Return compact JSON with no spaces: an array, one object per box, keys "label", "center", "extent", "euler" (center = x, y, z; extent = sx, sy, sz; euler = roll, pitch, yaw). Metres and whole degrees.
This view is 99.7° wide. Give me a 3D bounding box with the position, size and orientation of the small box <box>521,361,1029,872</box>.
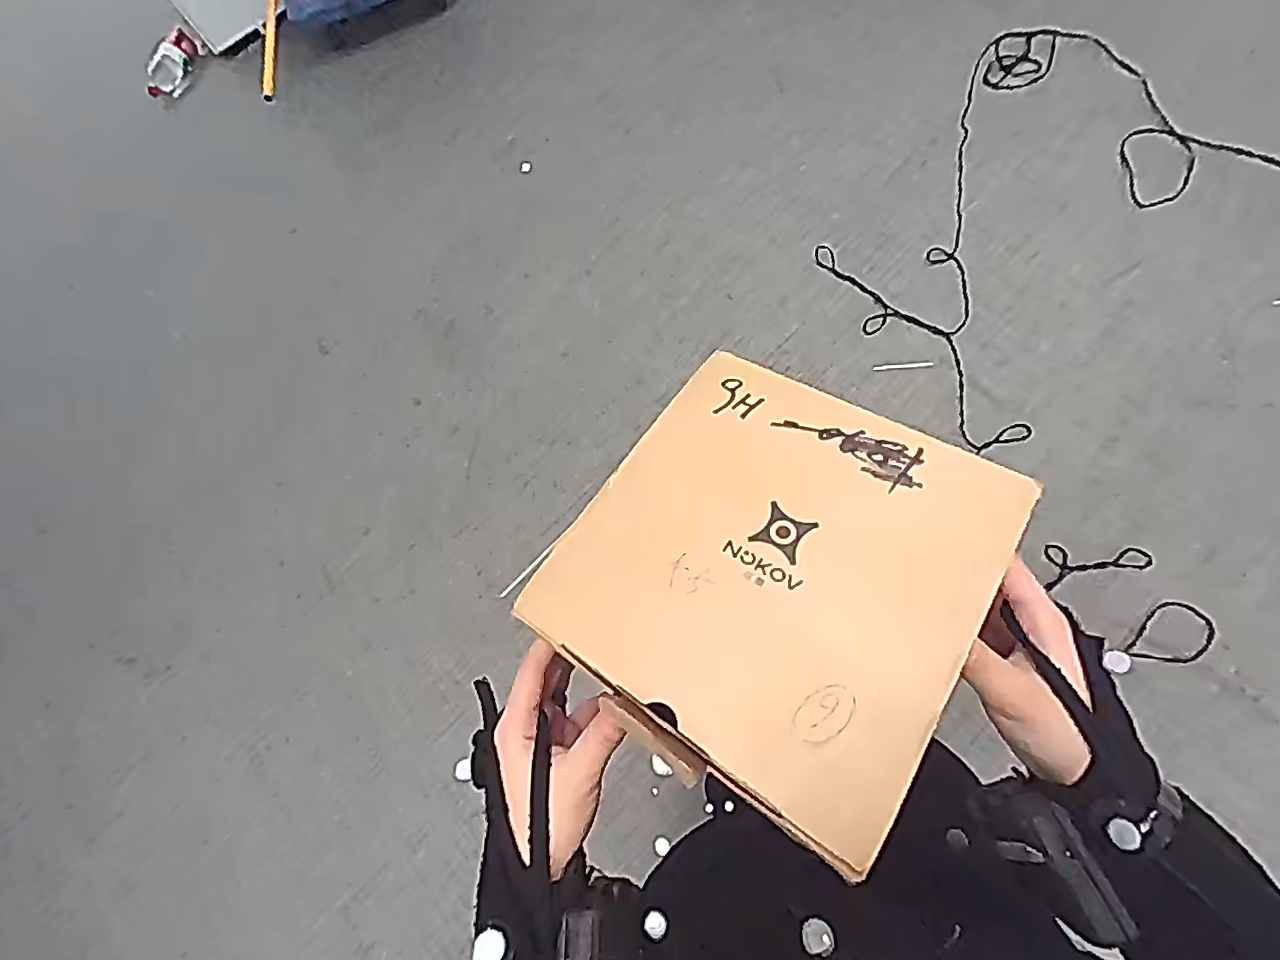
[{"label":"small box","center":[0.070,0.073,0.310],"extent":[0.168,0.176,0.179],"euler":[29,70,23]}]
